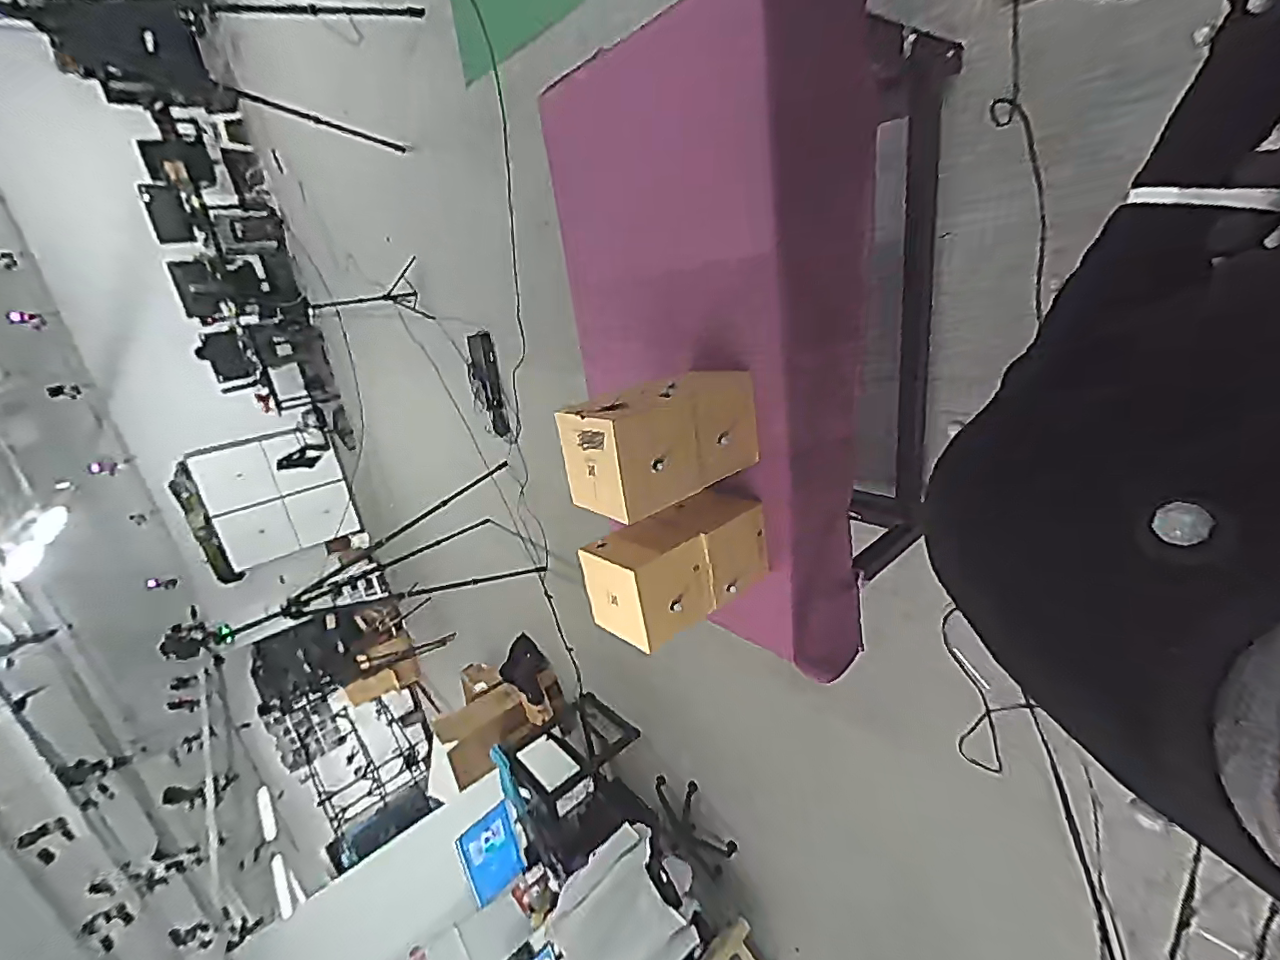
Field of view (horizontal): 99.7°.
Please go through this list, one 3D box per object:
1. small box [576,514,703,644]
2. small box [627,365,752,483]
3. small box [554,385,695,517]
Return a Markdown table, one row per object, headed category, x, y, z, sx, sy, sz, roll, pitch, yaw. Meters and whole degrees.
| category | x | y | z | sx | sy | sz | roll | pitch | yaw |
| --- | --- | --- | --- | --- | --- | --- | --- | --- | --- |
| small box | 0.006 | 0.178 | 1.037 | 0.179 | 0.176 | 0.168 | 12 | 118 | 51 |
| small box | 0.099 | -0.114 | 1.036 | 0.168 | 0.176 | 0.179 | 14 | 120 | 49 |
| small box | -0.023 | -0.061 | 0.938 | 0.168 | 0.176 | 0.179 | 17 | 122 | 48 |
